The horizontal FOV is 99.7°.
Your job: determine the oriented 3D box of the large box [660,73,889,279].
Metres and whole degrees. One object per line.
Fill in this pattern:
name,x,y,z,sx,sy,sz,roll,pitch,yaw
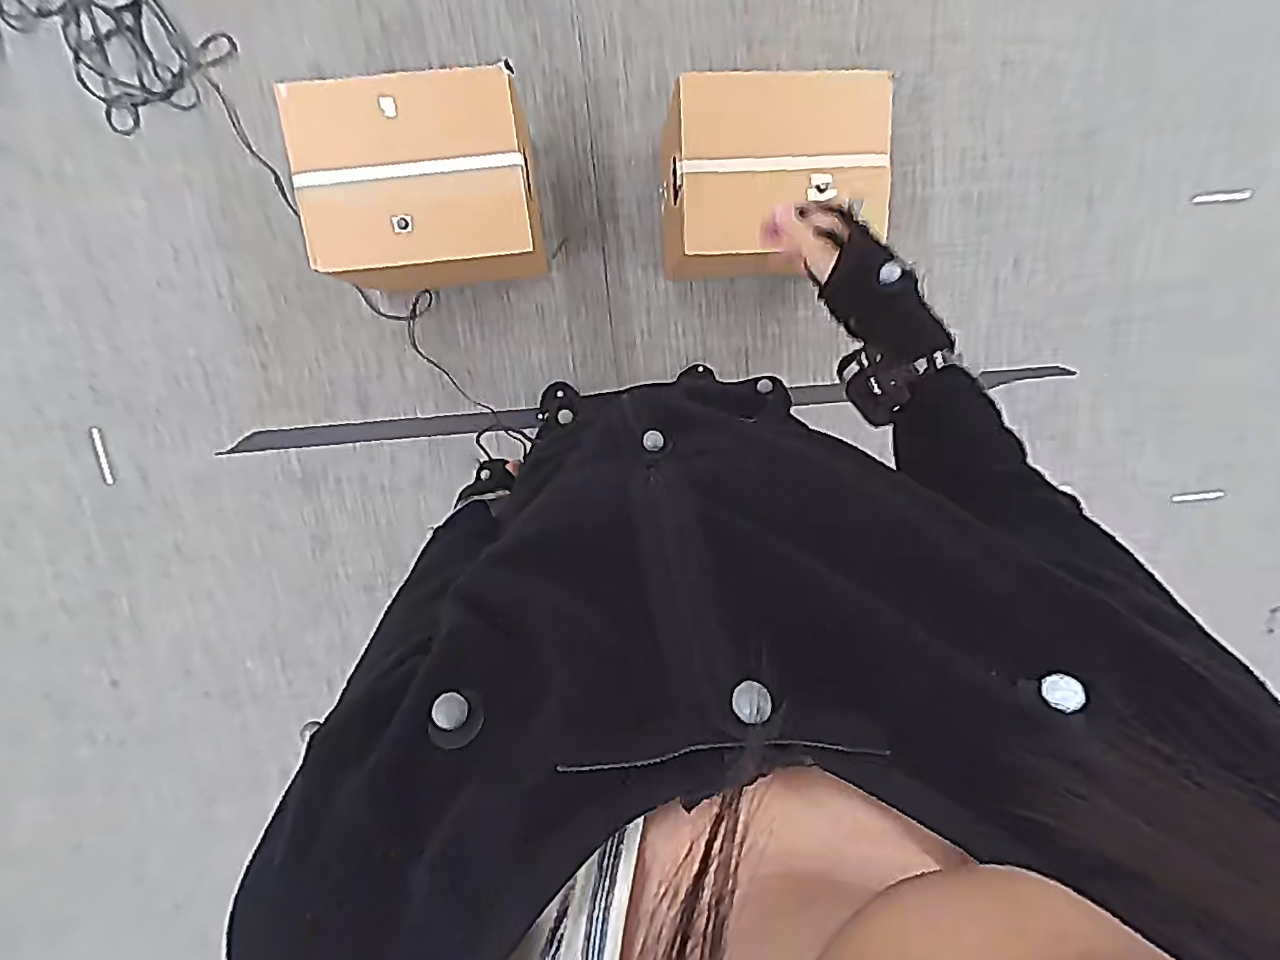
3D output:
large box,0.265,-0.630,1.176,0.408,0.320,0.320,-3,102,-5
